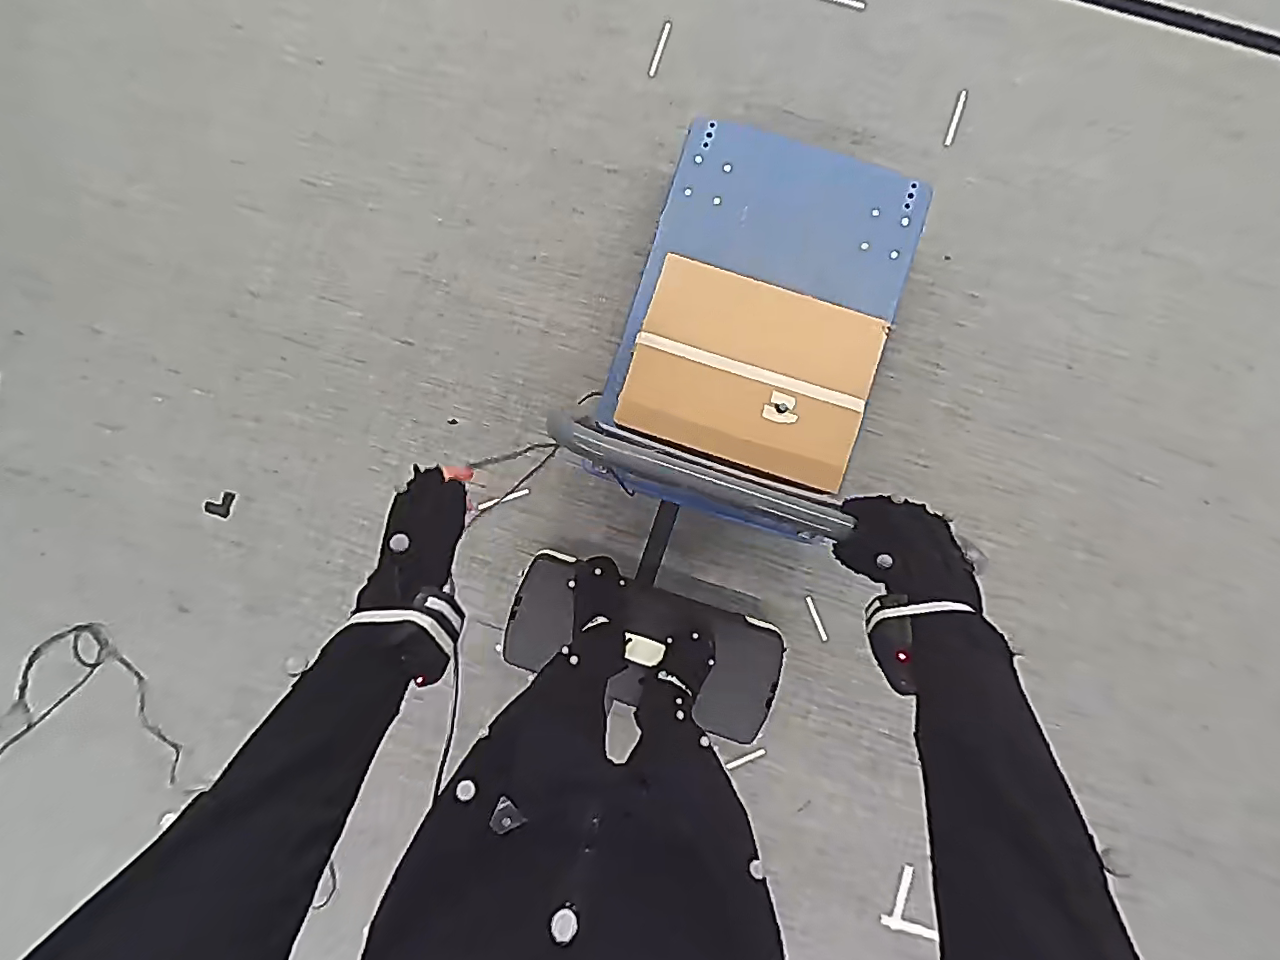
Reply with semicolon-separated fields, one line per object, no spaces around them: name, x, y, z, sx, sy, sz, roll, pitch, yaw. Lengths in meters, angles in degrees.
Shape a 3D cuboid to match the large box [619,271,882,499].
large box;0.193;-0.165;1.099;0.408;0.320;0.320;18;89;1
